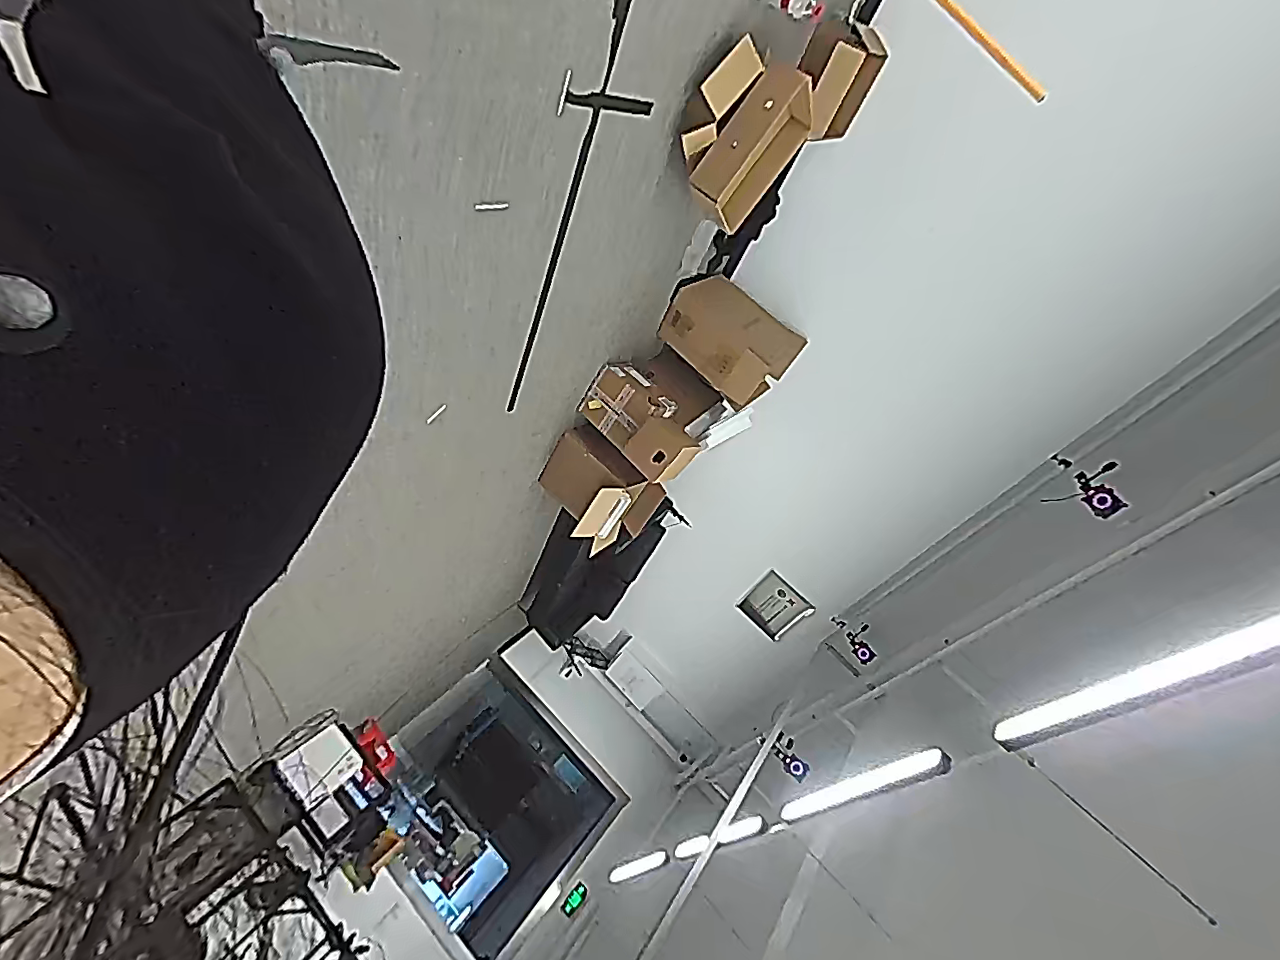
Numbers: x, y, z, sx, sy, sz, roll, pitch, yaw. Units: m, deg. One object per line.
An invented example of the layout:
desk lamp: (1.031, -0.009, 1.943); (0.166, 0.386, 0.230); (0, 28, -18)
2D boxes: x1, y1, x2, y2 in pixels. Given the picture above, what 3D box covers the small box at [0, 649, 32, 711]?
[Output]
small box: (-1.988, 0.602, 1.606); (0.168, 0.176, 0.179); (-35, 163, -43)
